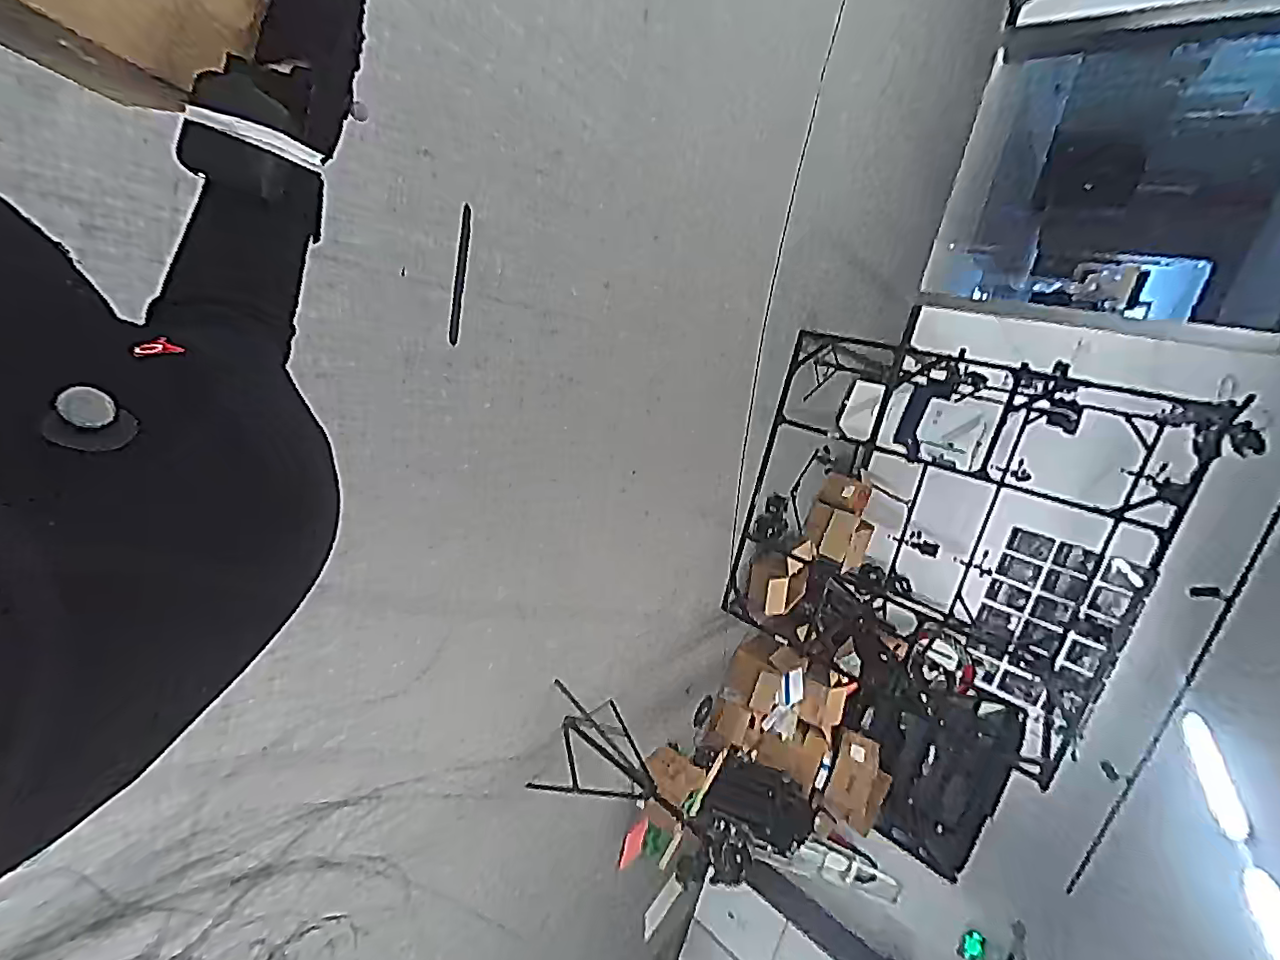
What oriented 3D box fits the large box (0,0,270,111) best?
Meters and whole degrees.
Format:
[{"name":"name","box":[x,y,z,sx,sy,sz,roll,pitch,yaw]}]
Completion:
[{"name":"large box","box":[-0.454,-0.478,0.281,0.408,0.320,0.320,10,106,-58]}]
